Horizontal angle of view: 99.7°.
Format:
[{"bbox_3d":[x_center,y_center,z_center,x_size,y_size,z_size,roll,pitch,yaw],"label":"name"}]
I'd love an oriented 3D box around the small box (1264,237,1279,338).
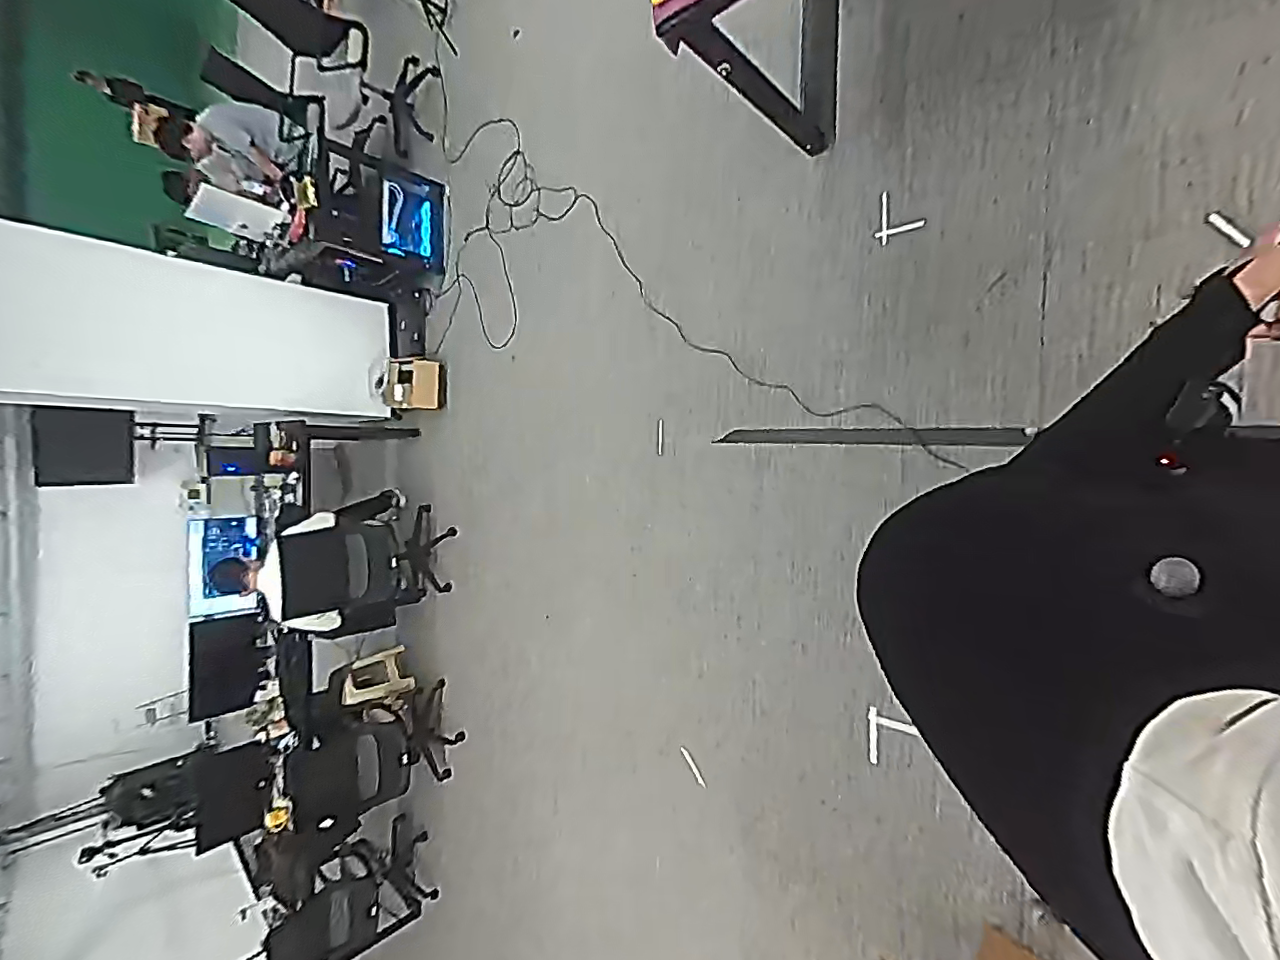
[{"bbox_3d":[0.694,-0.228,0.480,0.168,0.176,0.179,12,100,48],"label":"small box"}]
